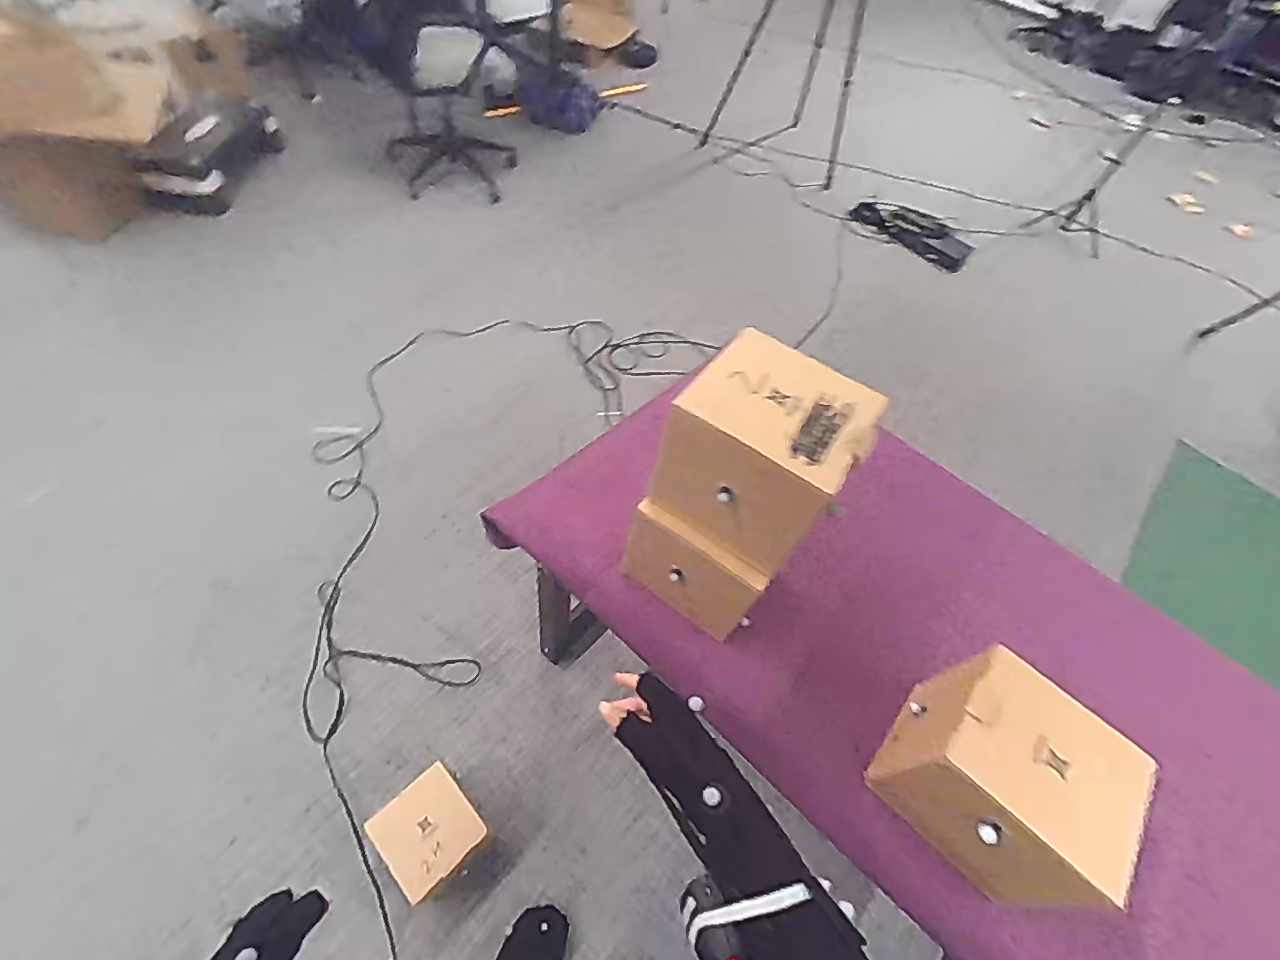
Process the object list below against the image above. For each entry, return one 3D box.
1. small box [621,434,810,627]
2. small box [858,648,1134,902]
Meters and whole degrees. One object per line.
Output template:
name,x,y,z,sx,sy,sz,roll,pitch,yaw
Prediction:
small box,0.094,0.077,0.741,0.179,0.176,0.168,34,55,14
small box,0.392,0.333,0.620,0.179,0.176,0.168,41,57,19
